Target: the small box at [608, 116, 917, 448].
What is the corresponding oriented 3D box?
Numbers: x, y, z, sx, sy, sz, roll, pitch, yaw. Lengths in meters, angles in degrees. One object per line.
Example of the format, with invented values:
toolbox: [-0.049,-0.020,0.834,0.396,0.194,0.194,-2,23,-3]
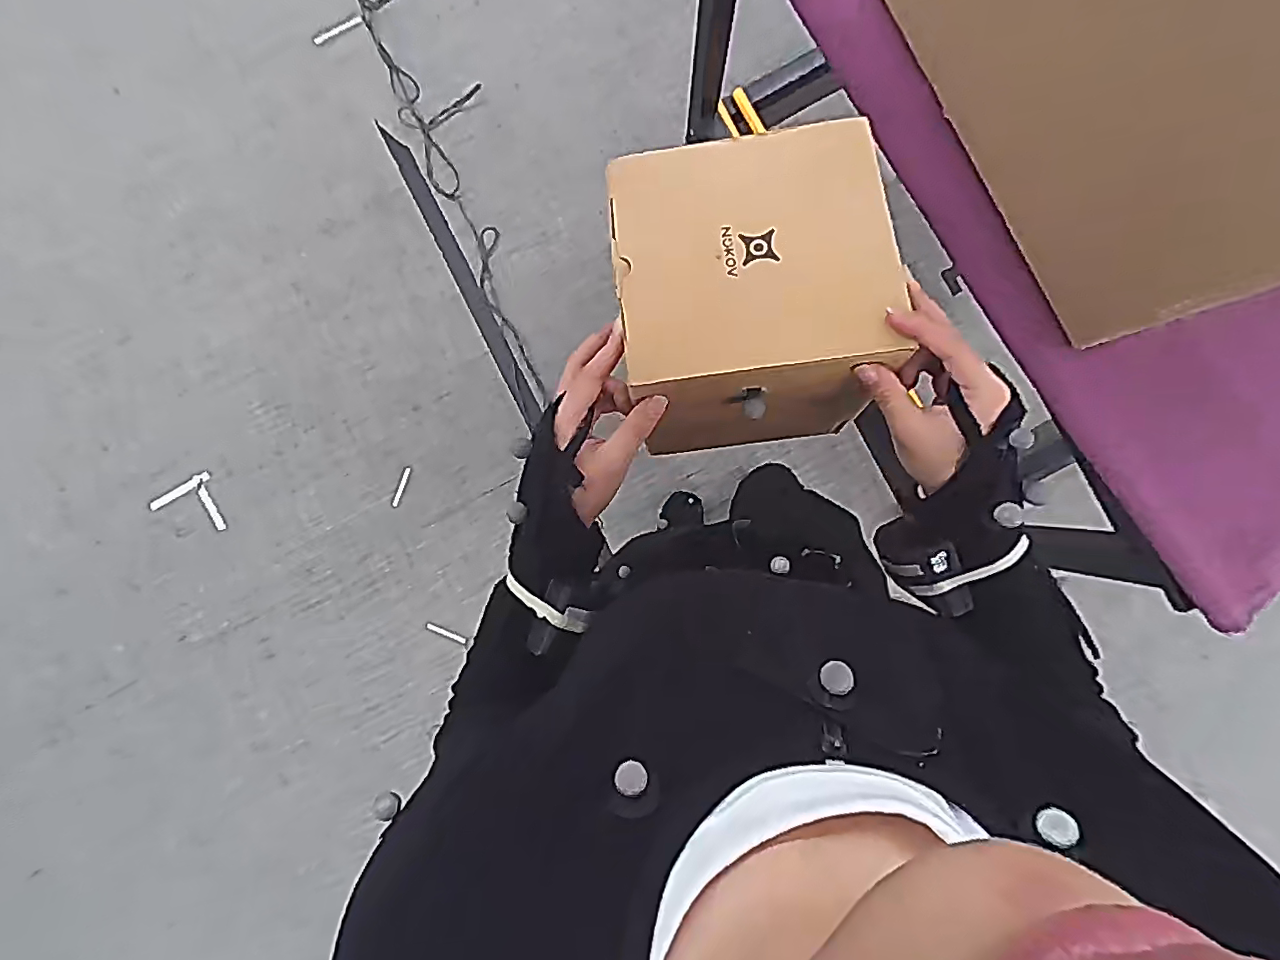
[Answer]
small box: [0.078,-0.131,0.418,0.179,0.176,0.168,-7,77,4]
